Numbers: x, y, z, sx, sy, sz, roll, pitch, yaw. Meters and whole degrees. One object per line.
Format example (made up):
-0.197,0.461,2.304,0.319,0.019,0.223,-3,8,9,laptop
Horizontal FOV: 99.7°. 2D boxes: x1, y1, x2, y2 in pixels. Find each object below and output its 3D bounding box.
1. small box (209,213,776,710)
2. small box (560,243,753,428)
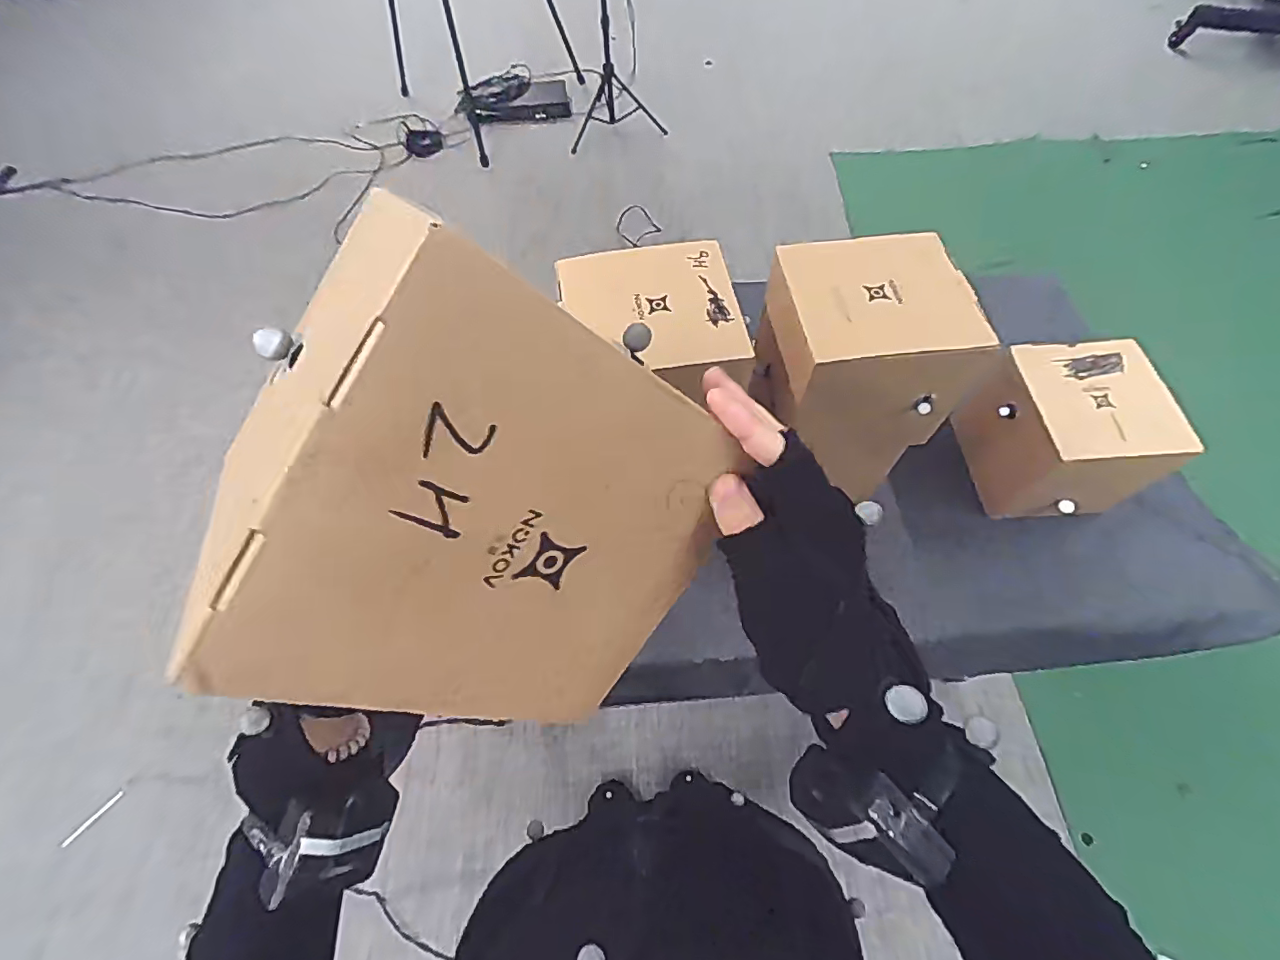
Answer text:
-0.073,-0.012,0.278,0.168,0.179,0.176,-56,40,8,small box
0.015,-0.132,0.609,0.179,0.176,0.168,-9,62,-2,small box
